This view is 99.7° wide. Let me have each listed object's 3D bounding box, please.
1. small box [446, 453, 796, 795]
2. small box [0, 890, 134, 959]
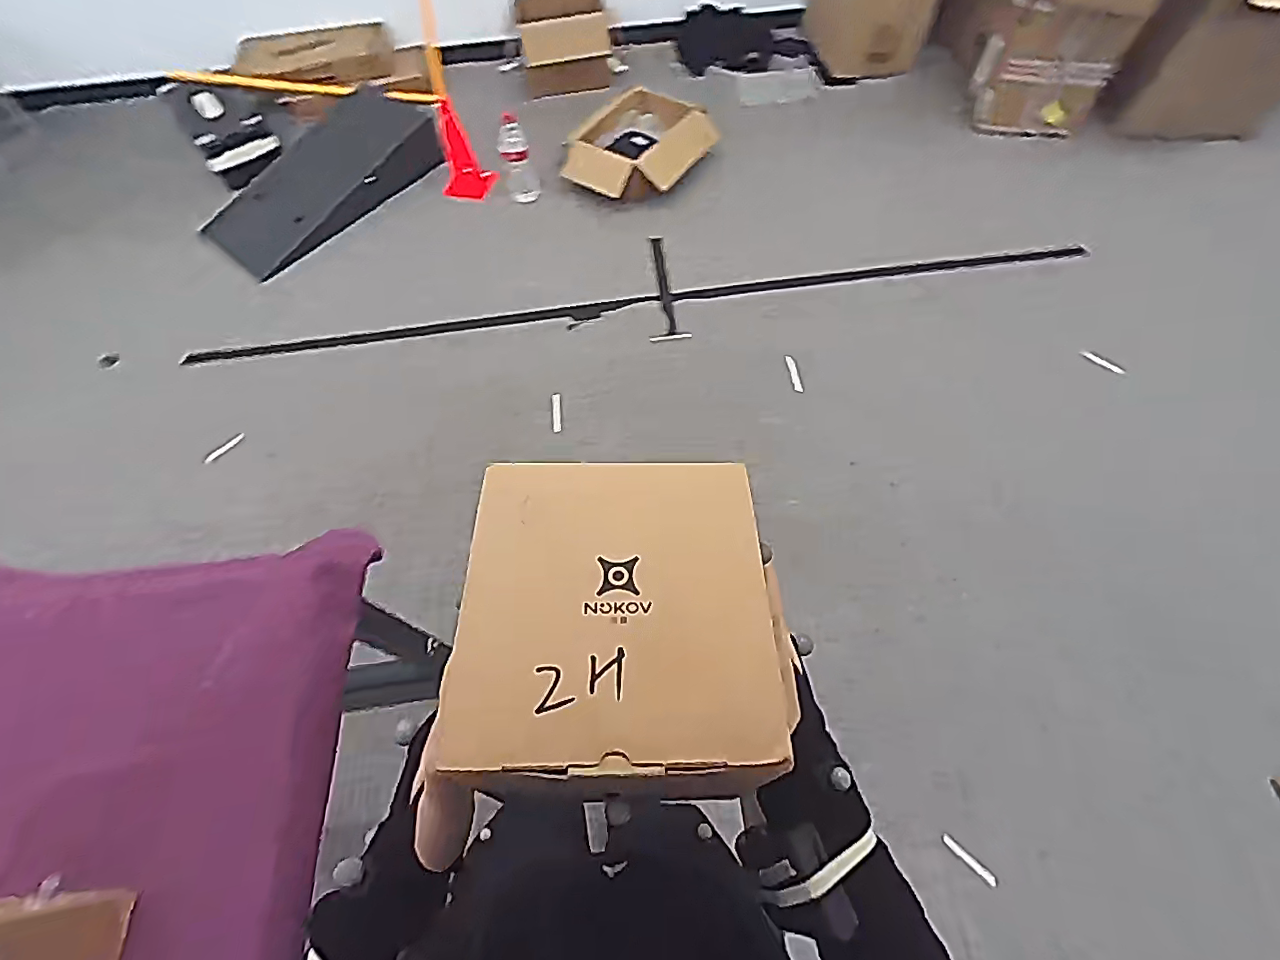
[{"bbox_3d":[-0.010,0.101,0.362,0.168,0.176,0.179,0,55,-1],"label":"small box"},{"bbox_3d":[-0.624,0.497,0.485,0.168,0.176,0.179,-5,61,-1],"label":"small box"}]
